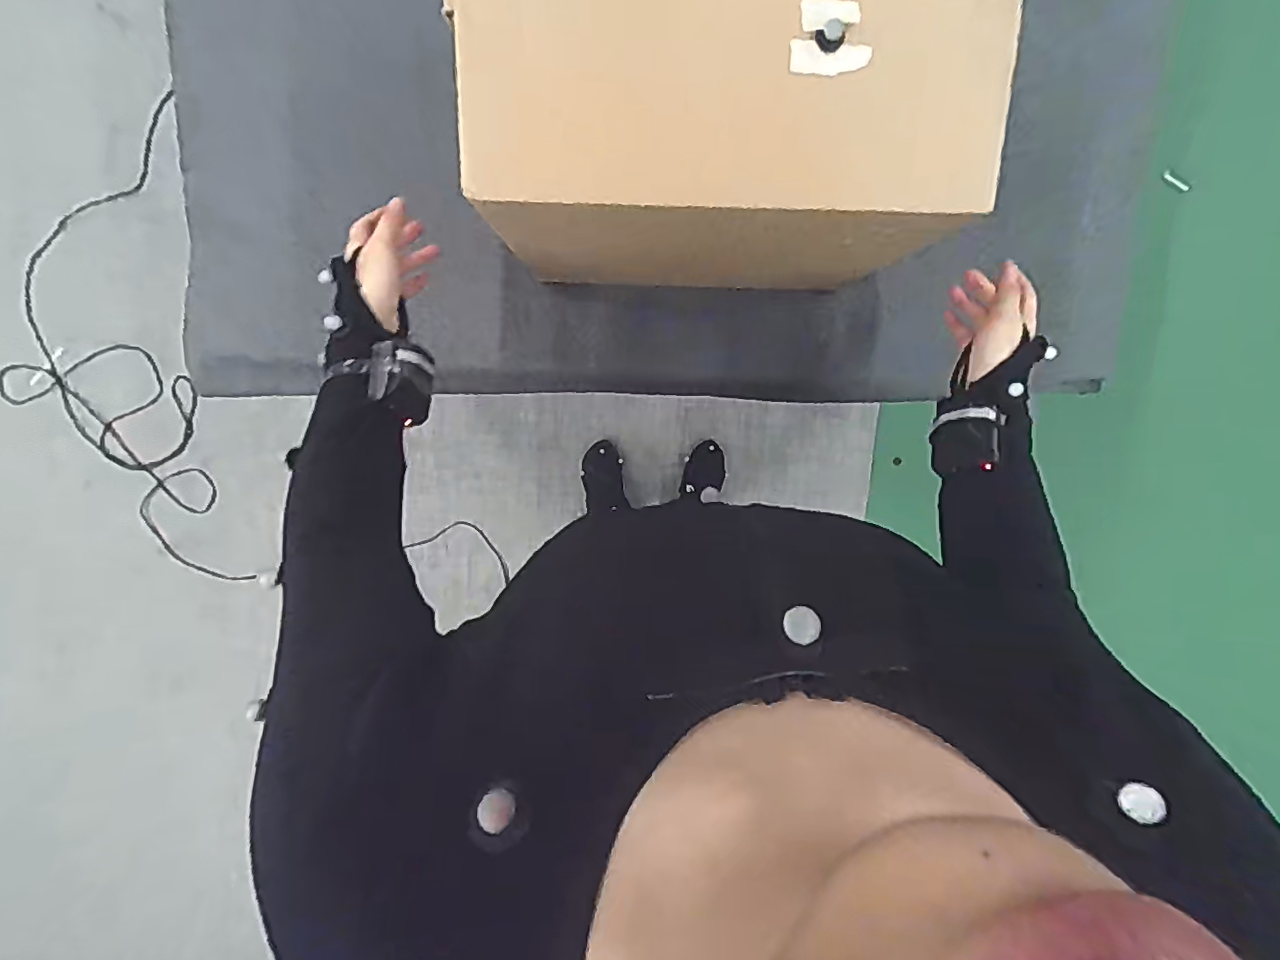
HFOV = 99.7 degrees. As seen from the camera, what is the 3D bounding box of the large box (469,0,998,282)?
[{"bbox_3d":[0.066,-0.392,0.548,0.408,0.320,0.320,1,100,-1],"label":"large box"}]
